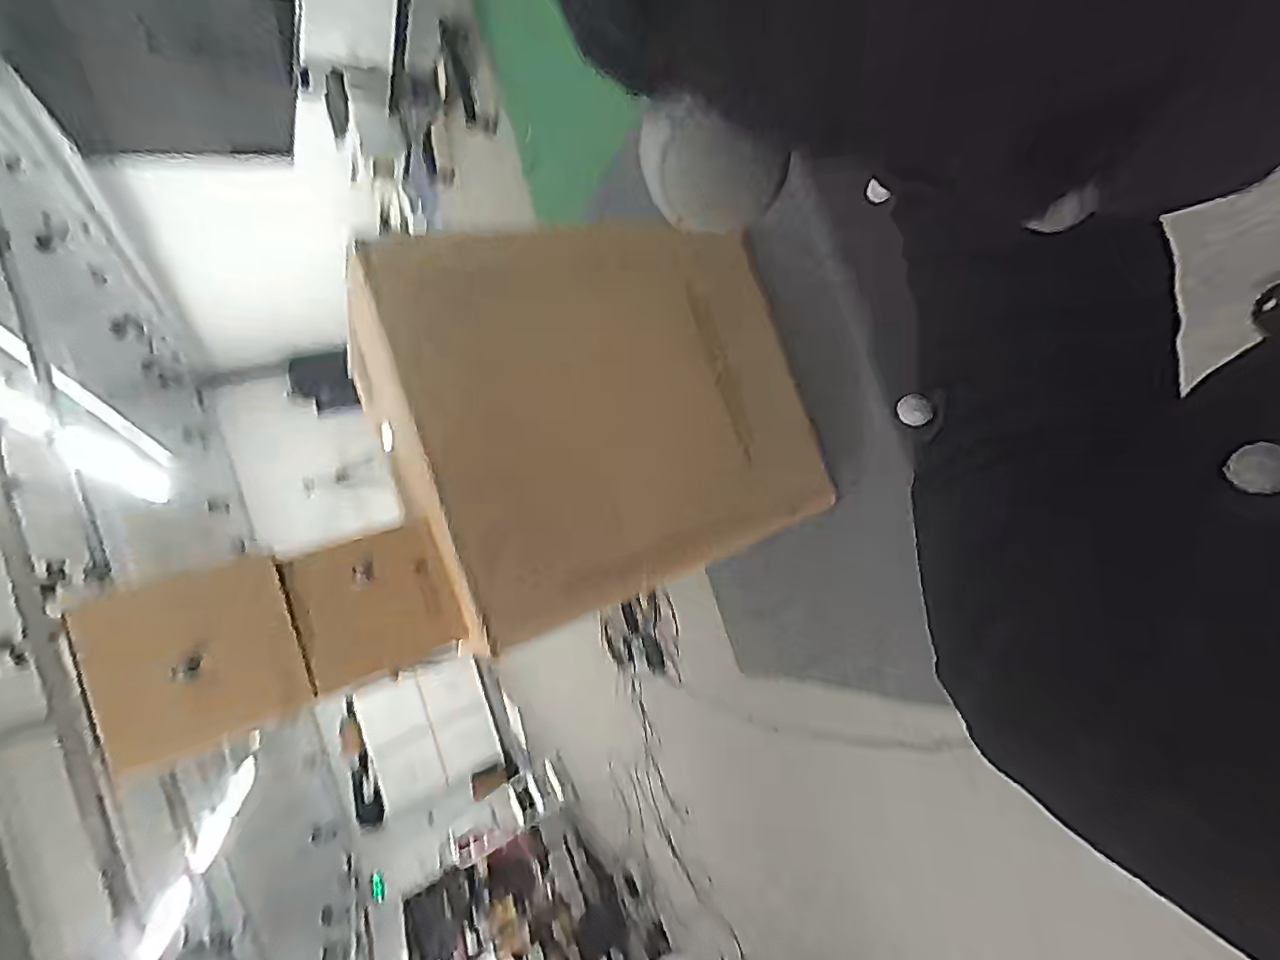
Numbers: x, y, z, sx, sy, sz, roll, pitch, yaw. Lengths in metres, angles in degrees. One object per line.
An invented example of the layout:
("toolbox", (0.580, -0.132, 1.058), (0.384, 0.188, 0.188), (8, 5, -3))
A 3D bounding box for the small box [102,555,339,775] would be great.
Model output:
("small box", (-0.456, 0.193, 0.618), (0.168, 0.176, 0.179), (-27, 82, 58))

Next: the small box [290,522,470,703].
("small box", (-0.335, 0.170, 0.702), (0.179, 0.176, 0.168), (-41, 70, 55))
